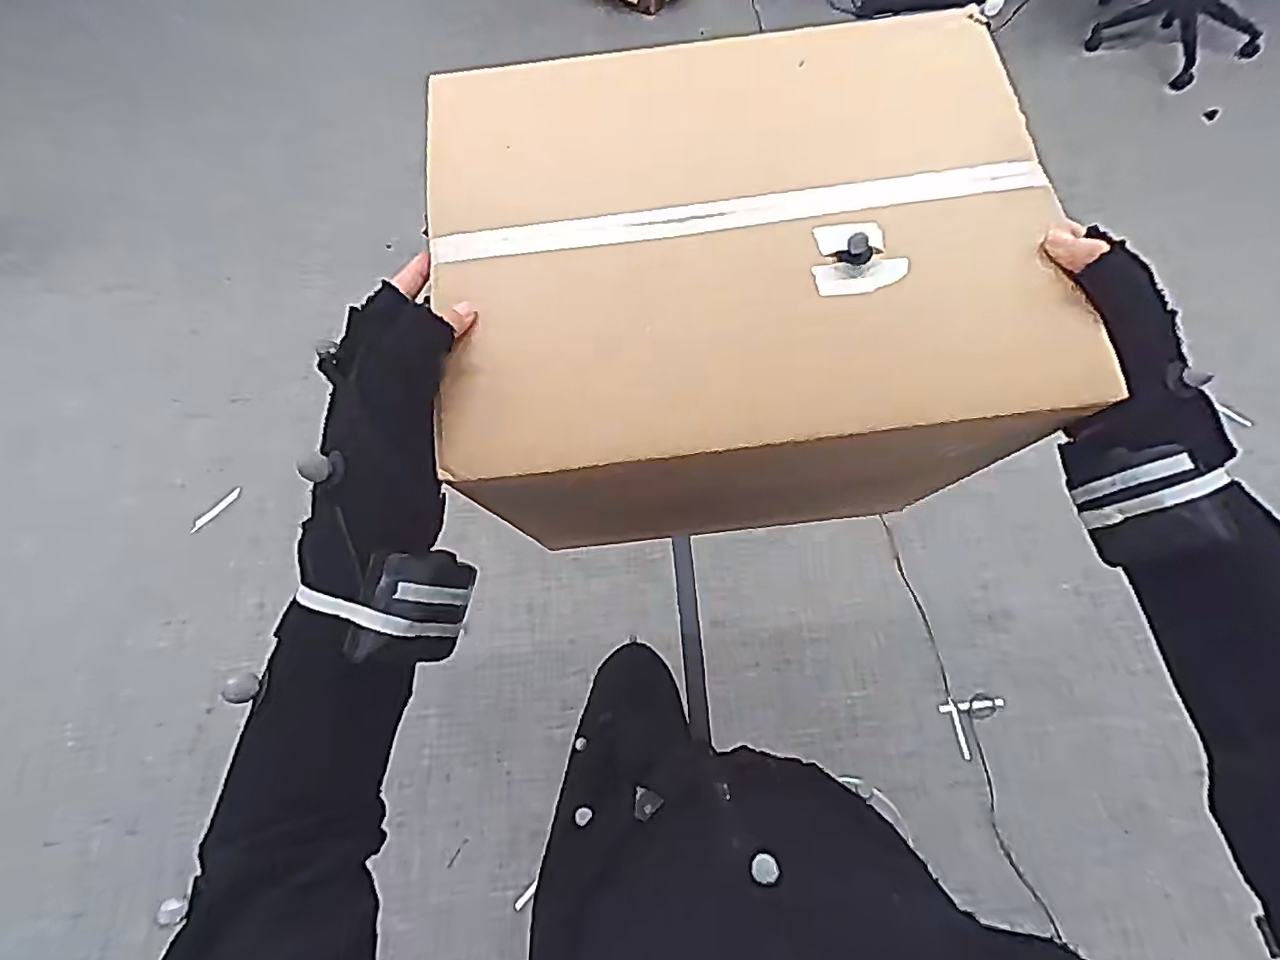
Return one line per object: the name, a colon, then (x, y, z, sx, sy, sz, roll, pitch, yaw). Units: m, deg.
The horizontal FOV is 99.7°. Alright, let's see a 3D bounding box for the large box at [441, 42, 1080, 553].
large box: (0.065, -0.128, 0.520, 0.408, 0.320, 0.320, -7, 74, 0)
